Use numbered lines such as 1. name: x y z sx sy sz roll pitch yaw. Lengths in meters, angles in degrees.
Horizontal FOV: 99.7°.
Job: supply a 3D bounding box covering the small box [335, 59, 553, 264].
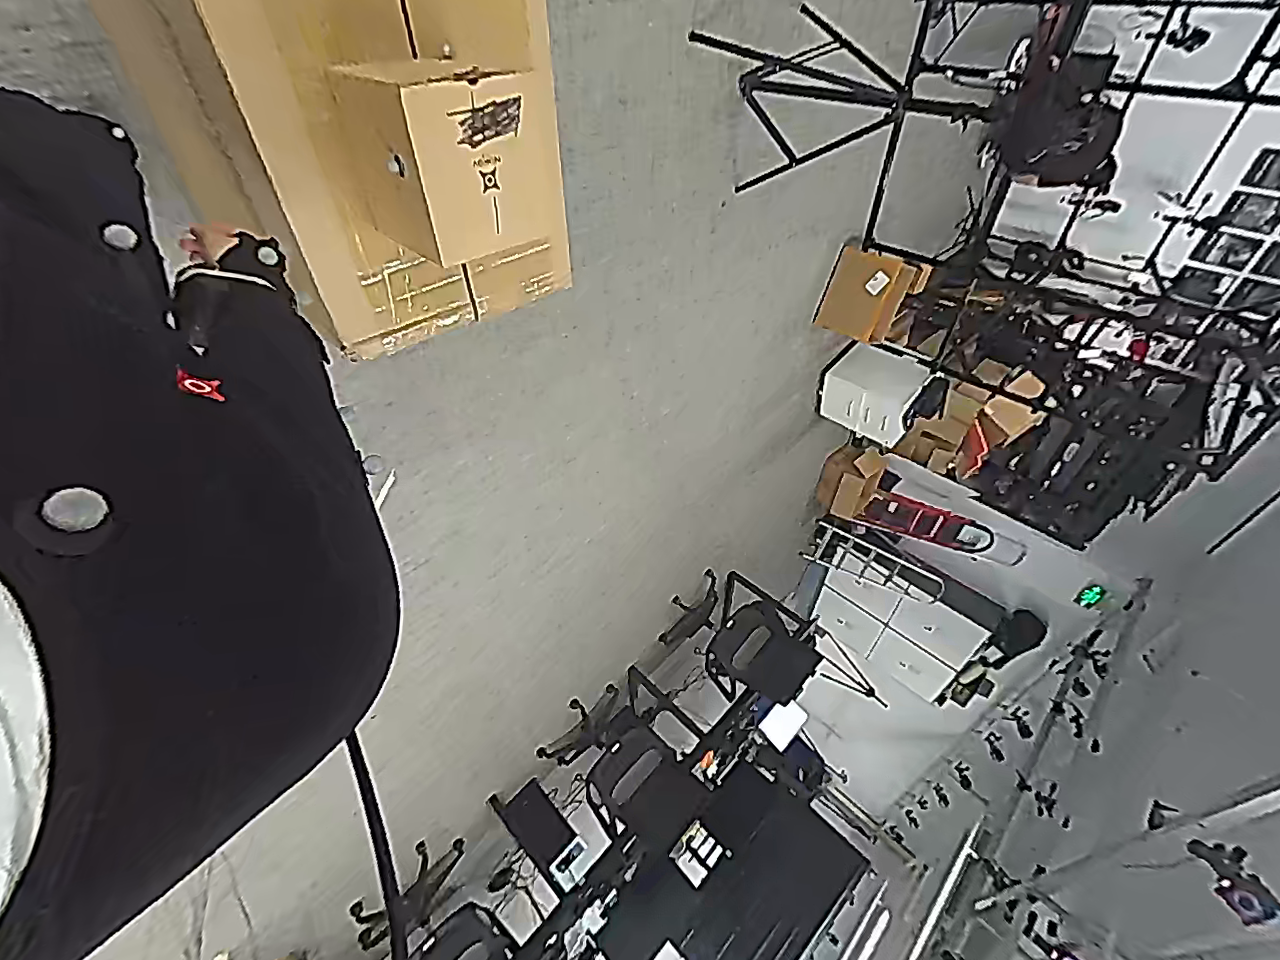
1. small box: -0.226 -0.385 0.643 0.168 0.176 0.179 -34 143 -31
